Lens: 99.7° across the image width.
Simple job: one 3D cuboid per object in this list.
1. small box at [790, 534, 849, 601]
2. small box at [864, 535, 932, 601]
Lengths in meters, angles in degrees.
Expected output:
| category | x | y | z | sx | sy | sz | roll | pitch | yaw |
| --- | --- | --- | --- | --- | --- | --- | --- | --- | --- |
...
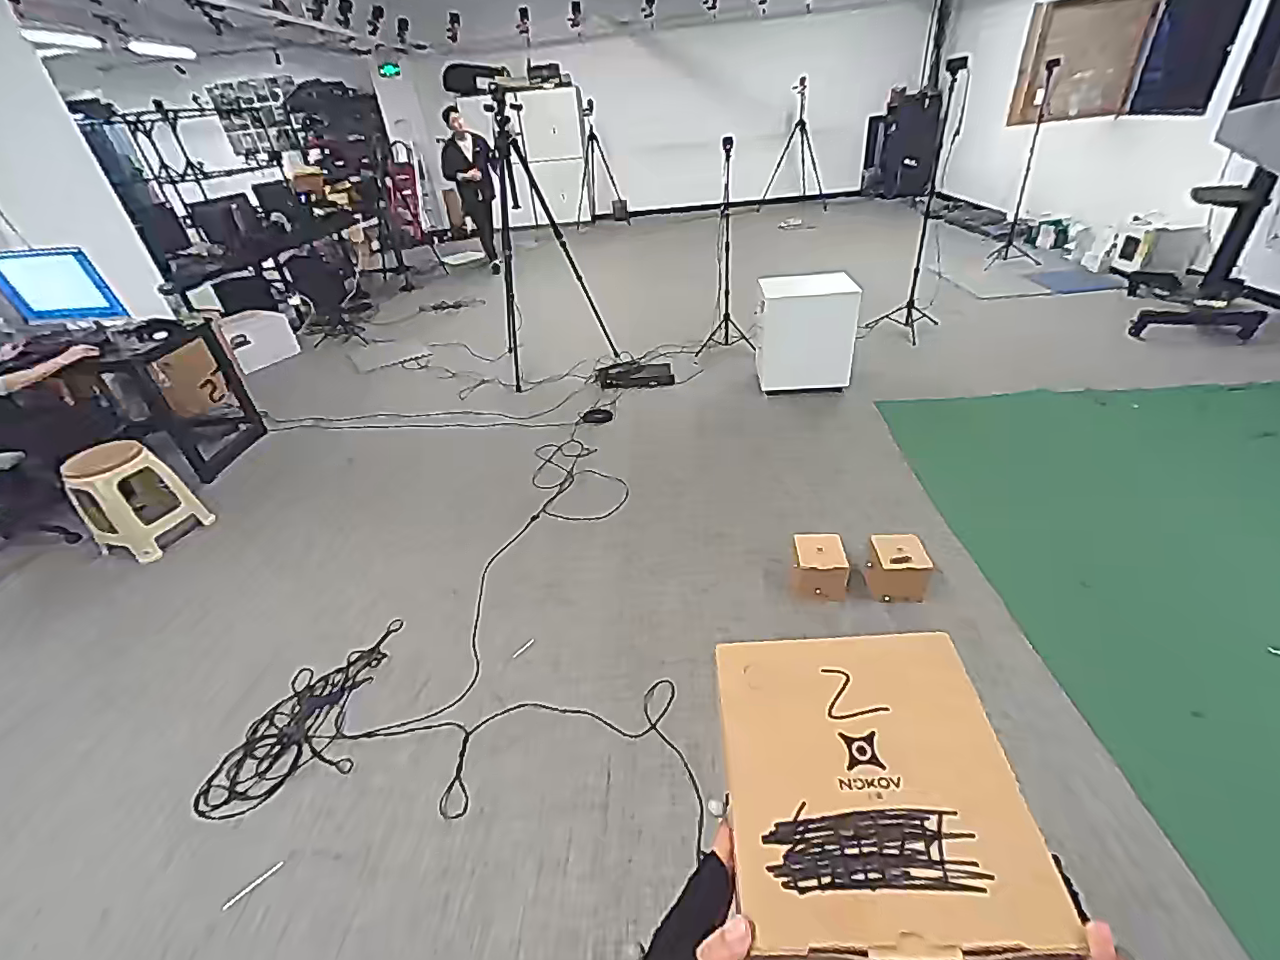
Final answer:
| category | x | y | z | sx | sy | sz | roll | pitch | yaw |
| --- | --- | --- | --- | --- | --- | --- | --- | --- | --- |
| small box | 0.649 | 0.318 | 1.974 | 0.168 | 0.176 | 0.179 | -1 | 35 | 6 |
| small box | 0.916 | 0.318 | 1.937 | 0.168 | 0.176 | 0.179 | -2 | 34 | 6 |
